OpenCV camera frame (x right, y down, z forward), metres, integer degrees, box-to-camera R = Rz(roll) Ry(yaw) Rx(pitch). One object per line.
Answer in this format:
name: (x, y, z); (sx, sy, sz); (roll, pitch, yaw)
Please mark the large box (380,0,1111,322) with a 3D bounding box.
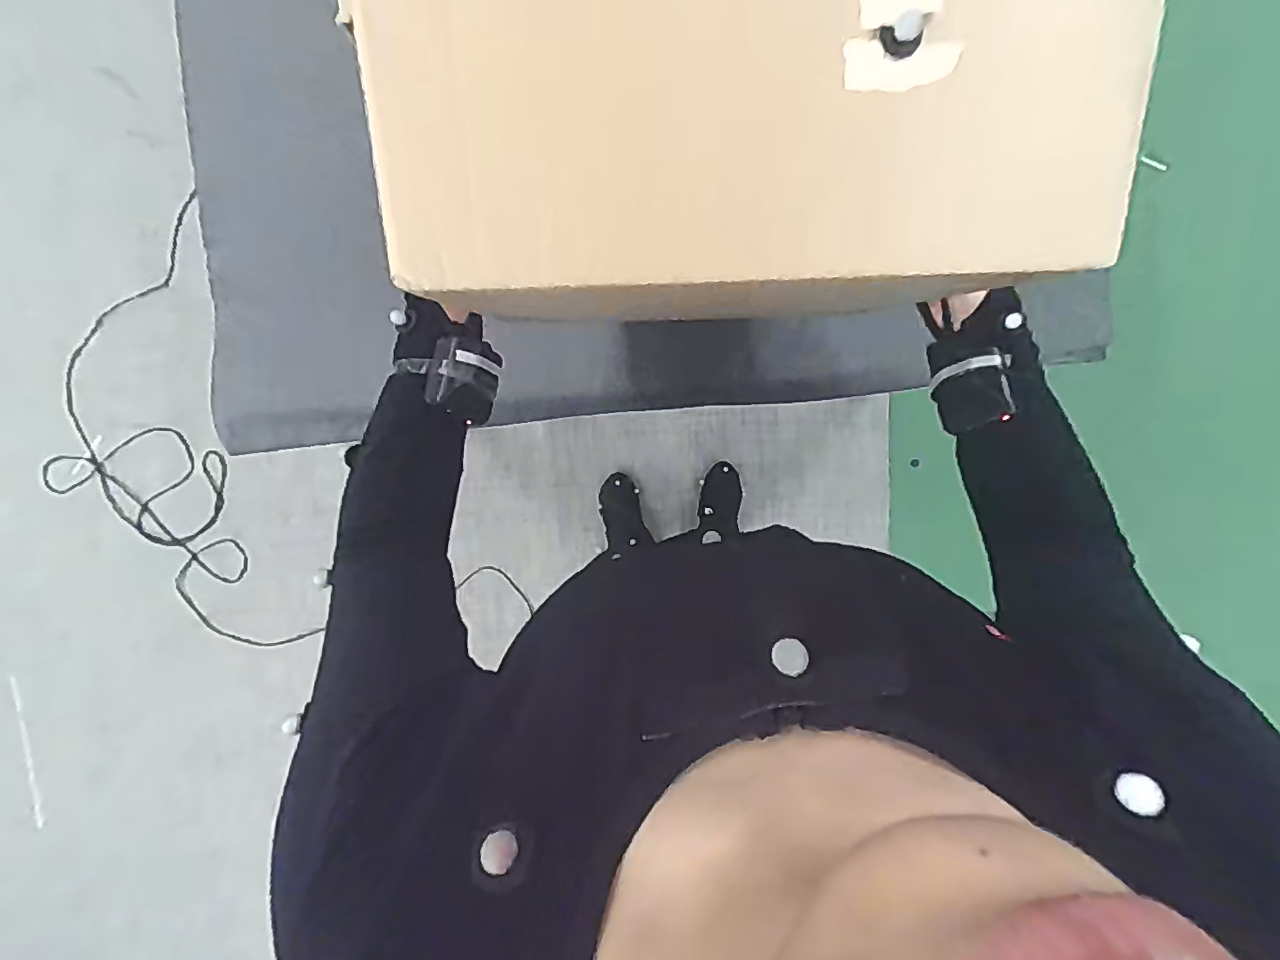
large box: (0.051, -0.307, 0.432); (0.408, 0.320, 0.320); (-3, 103, -3)
